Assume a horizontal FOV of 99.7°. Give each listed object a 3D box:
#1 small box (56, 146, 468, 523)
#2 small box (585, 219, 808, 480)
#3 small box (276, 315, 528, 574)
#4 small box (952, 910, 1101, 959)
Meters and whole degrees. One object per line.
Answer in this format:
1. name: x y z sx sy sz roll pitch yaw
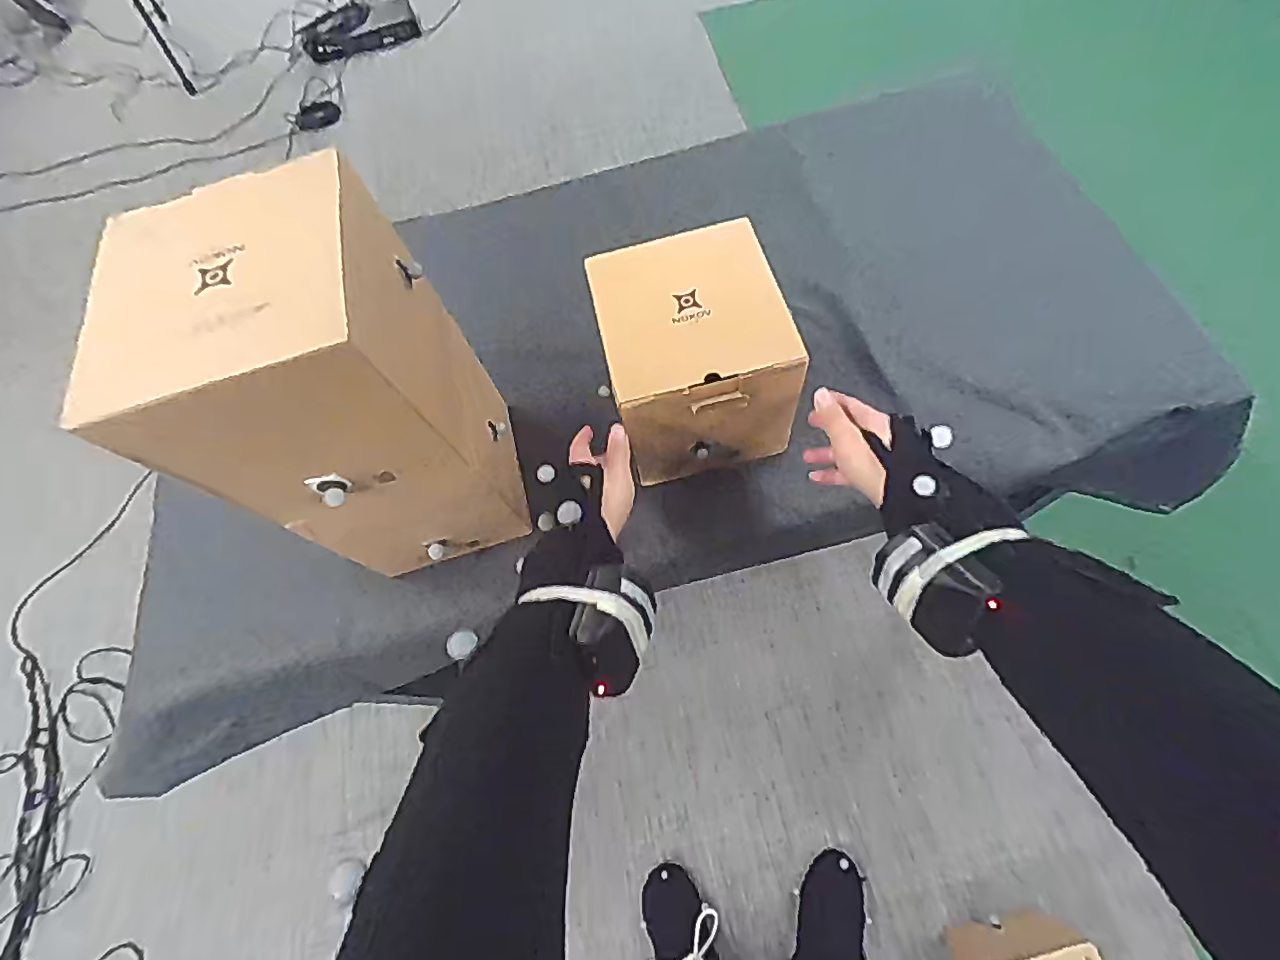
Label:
1. small box: -0.245 -0.092 0.395 0.168 0.176 0.179 -18 66 0
2. small box: 0.050 -0.124 0.554 0.168 0.176 0.179 -14 66 0
3. small box: -0.226 -0.026 0.542 0.168 0.176 0.179 -18 65 -1
4. small box: 0.630 0.822 0.857 0.179 0.176 0.168 -15 65 1
